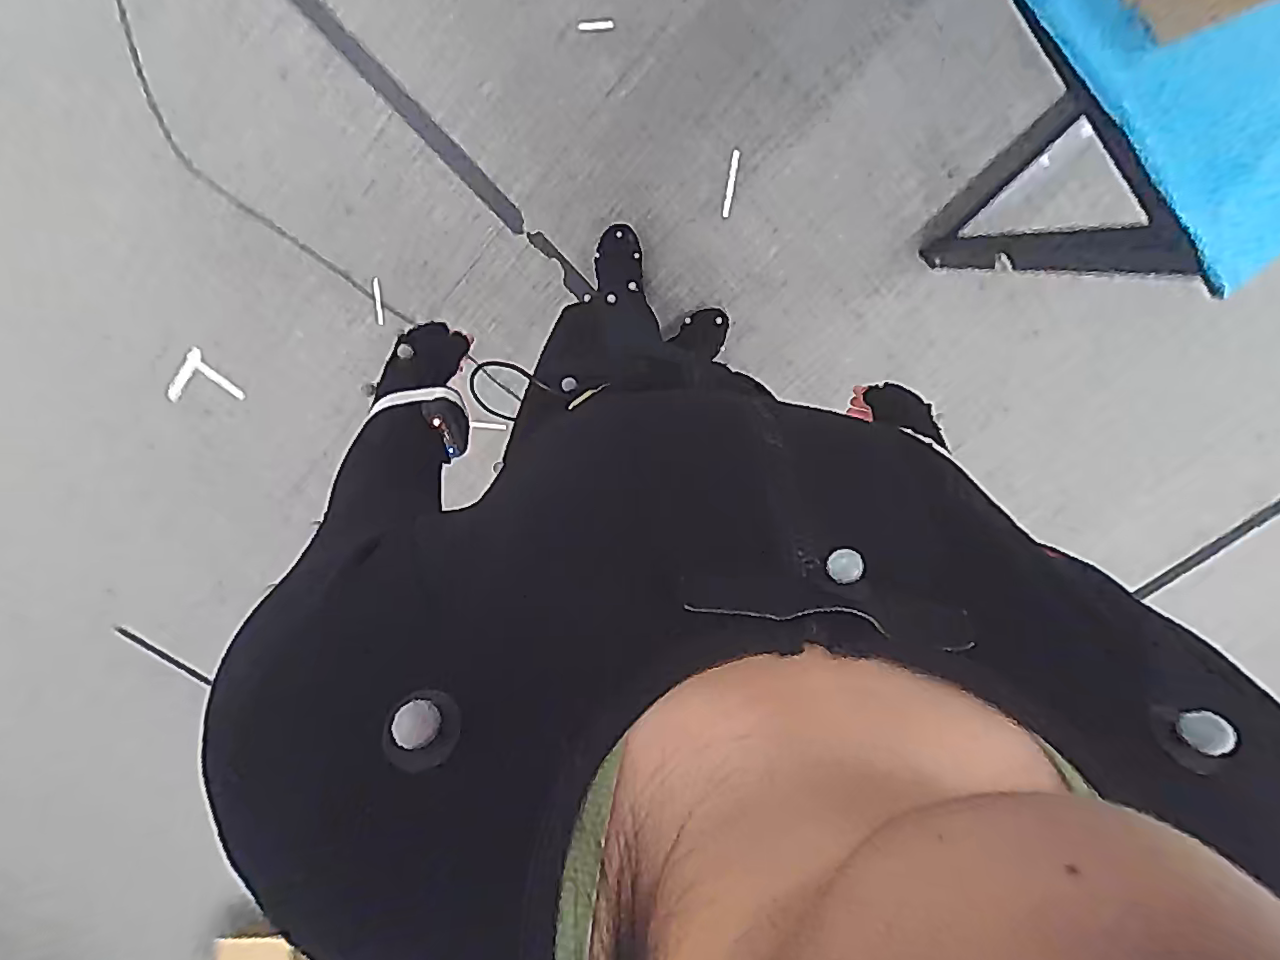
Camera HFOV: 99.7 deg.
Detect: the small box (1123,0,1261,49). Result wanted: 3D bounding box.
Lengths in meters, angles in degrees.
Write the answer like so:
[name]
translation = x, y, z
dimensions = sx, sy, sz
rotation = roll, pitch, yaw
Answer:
[small box]
translation = 0.528, -0.520, 0.438
dimensions = 0.168, 0.176, 0.179
rotation = 42, 106, -15
